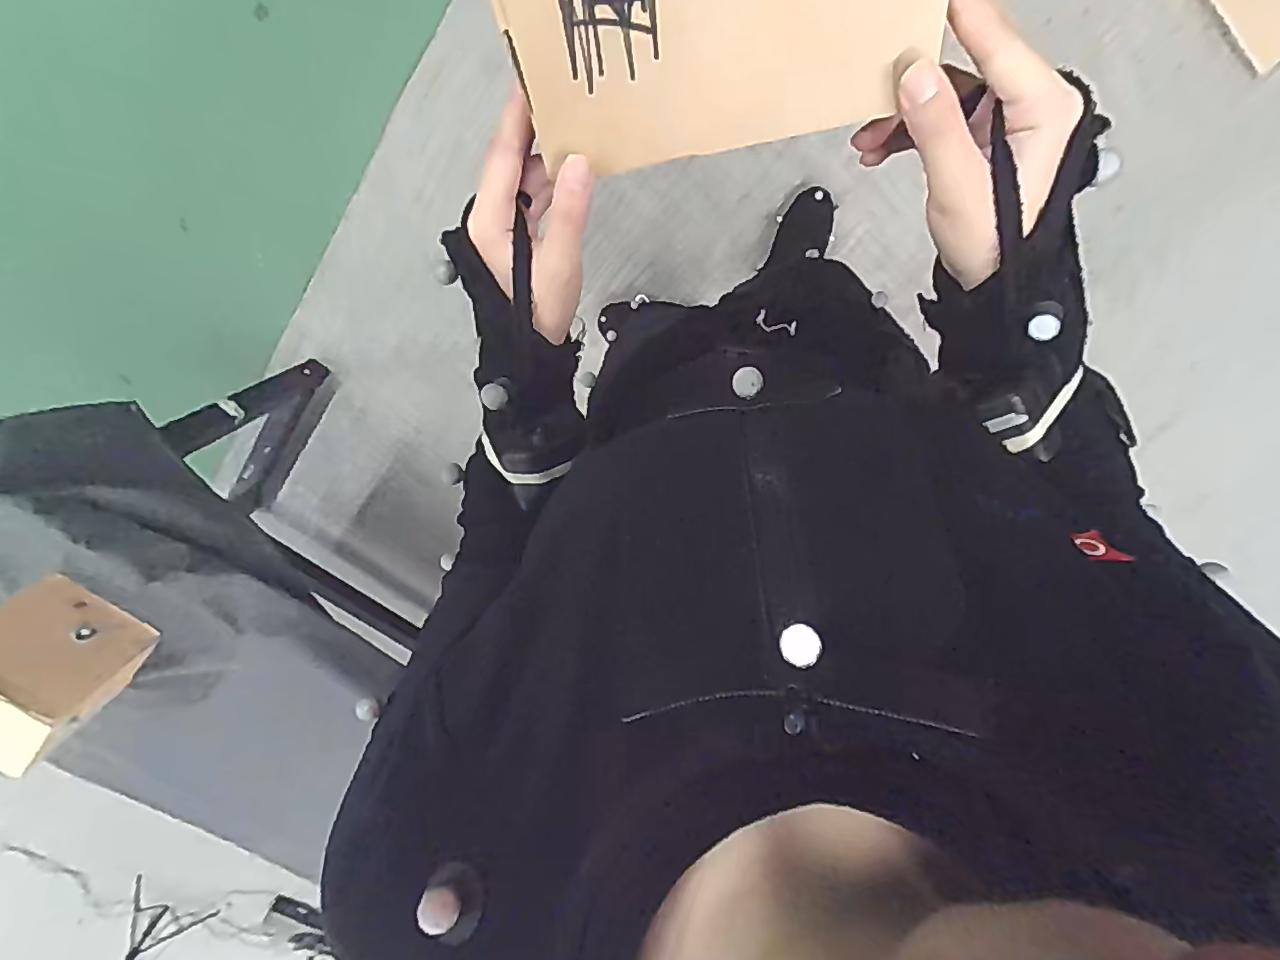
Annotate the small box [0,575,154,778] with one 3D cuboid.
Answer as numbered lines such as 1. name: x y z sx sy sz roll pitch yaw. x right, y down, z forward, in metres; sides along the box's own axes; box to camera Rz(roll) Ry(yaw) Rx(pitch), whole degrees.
1. small box: -0.853 0.272 0.763 0.168 0.176 0.179 42 113 -16
